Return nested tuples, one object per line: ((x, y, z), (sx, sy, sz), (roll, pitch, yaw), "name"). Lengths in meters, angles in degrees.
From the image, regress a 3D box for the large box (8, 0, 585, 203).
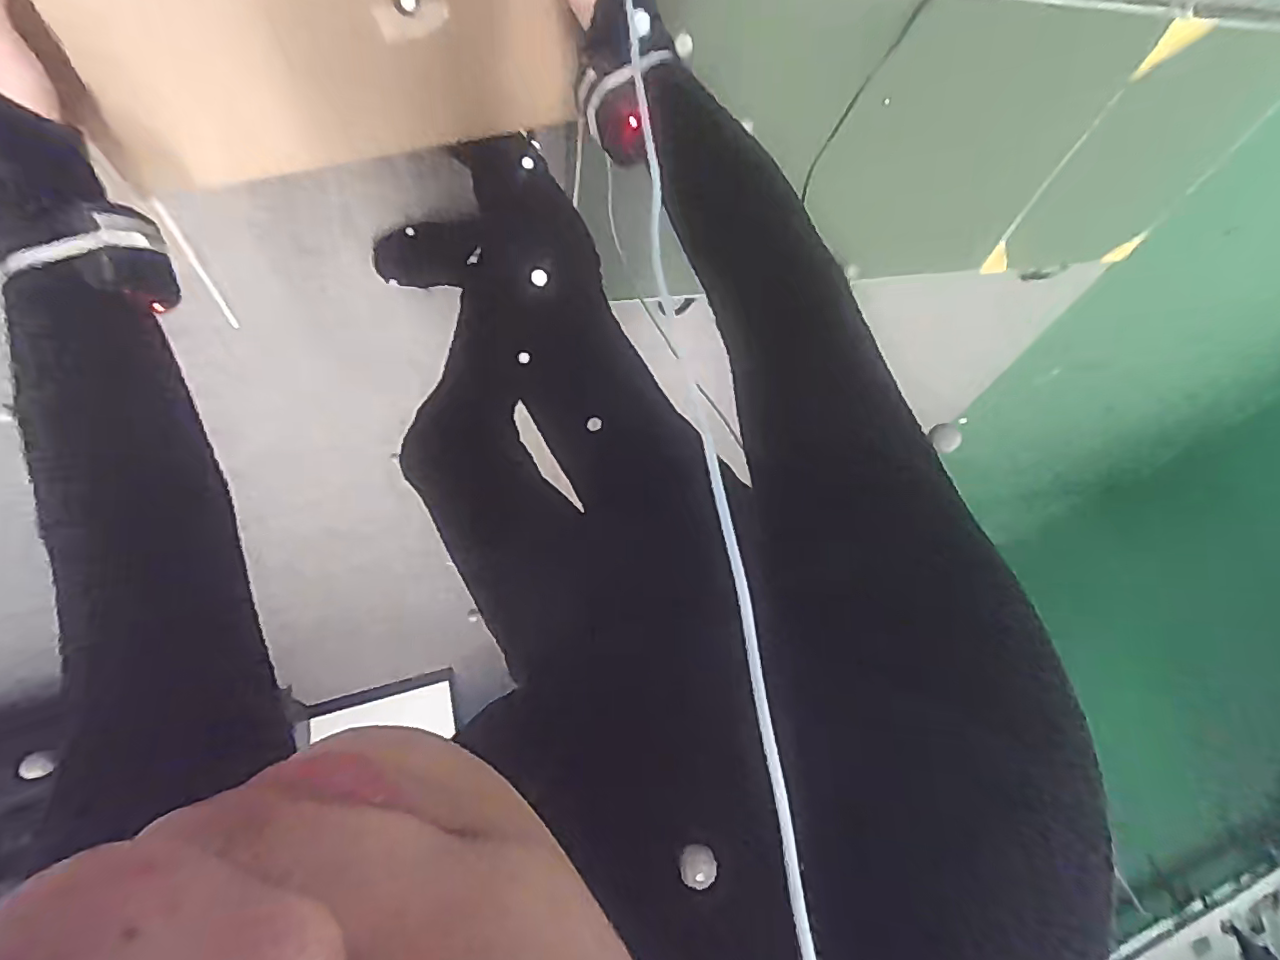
((-0.300, -0.507, 0.467), (0.408, 0.320, 0.320), (-19, 149, -11), "large box")
